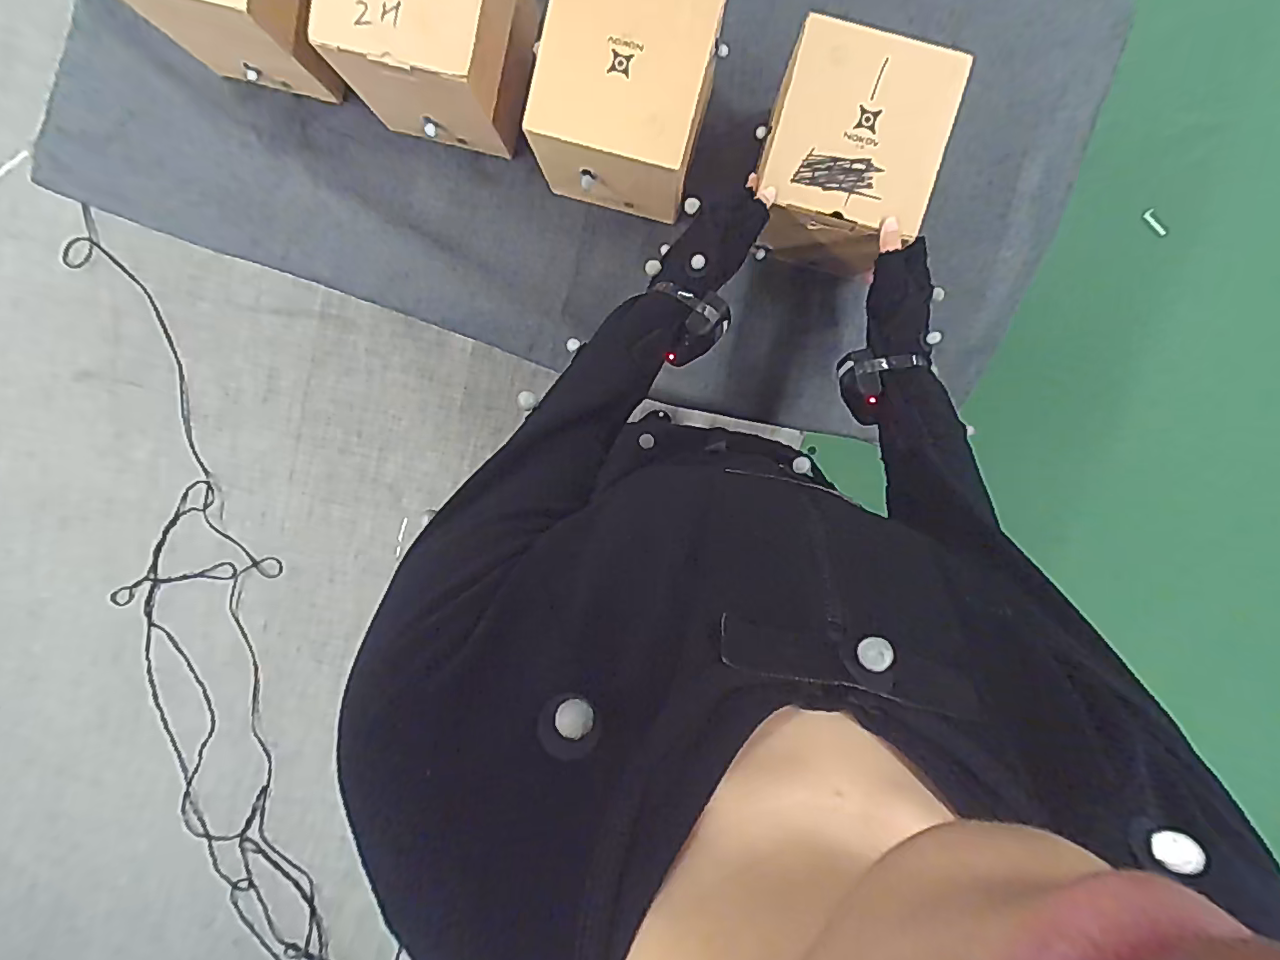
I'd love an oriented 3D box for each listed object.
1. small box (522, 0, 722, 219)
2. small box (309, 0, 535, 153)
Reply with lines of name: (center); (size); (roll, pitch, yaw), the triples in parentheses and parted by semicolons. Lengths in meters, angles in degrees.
small box: (-0.016, -0.421, 0.606); (0.168, 0.176, 0.179); (15, 97, 0)
small box: (-0.223, -0.506, 0.598); (0.168, 0.176, 0.179); (14, 98, 0)
